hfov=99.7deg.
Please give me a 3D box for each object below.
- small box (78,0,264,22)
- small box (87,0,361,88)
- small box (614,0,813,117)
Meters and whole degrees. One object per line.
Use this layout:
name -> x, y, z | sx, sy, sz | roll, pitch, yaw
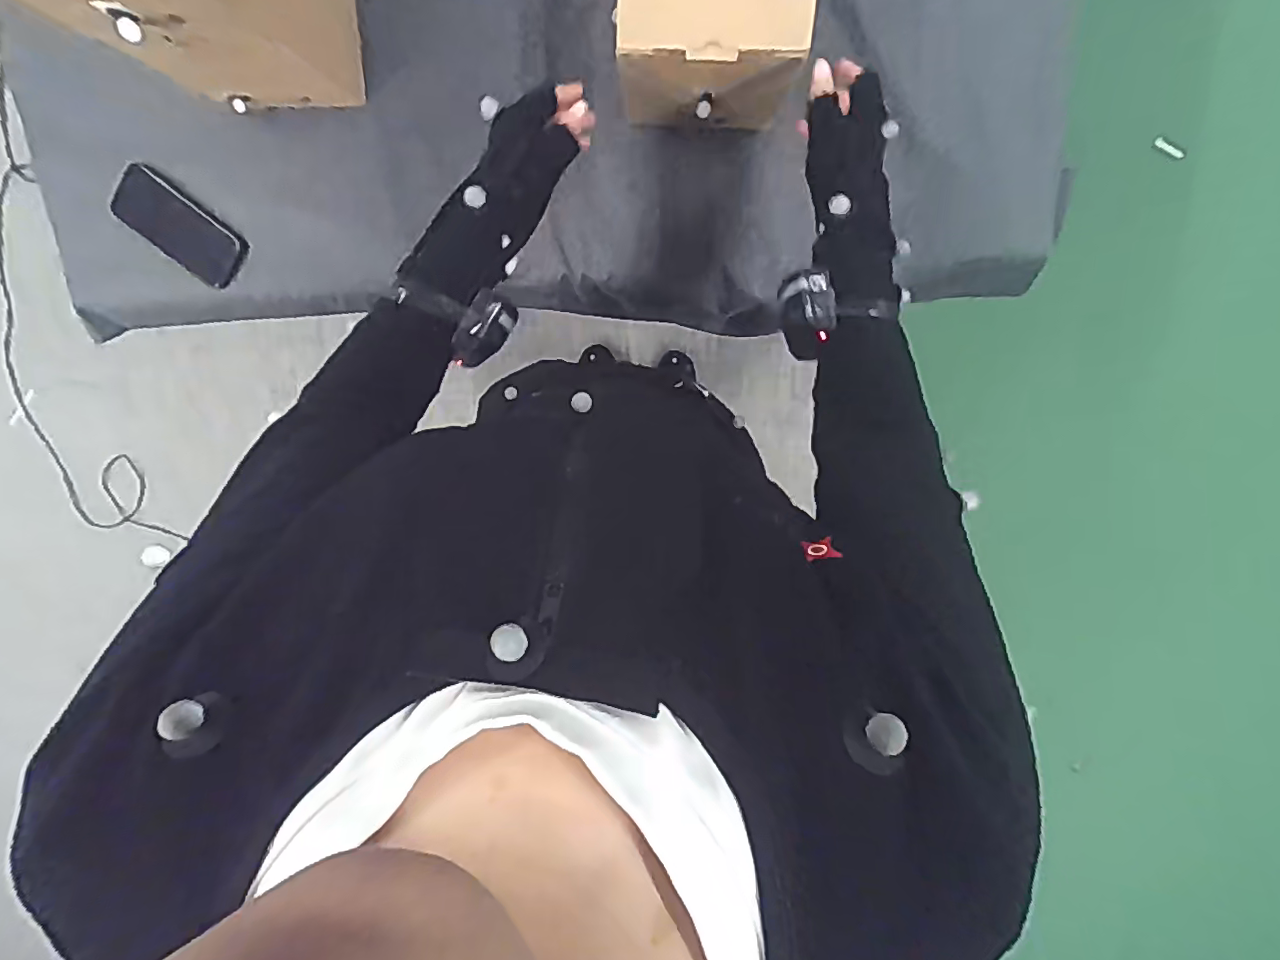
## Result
small box -> -0.402, -0.459, 0.366 | 0.168, 0.176, 0.179 | 1, 107, 4
small box -> -0.395, -0.507, 0.521 | 0.168, 0.176, 0.179 | 1, 105, 2
small box -> 0.070, -0.468, 0.507 | 0.168, 0.176, 0.179 | 4, 106, 3
